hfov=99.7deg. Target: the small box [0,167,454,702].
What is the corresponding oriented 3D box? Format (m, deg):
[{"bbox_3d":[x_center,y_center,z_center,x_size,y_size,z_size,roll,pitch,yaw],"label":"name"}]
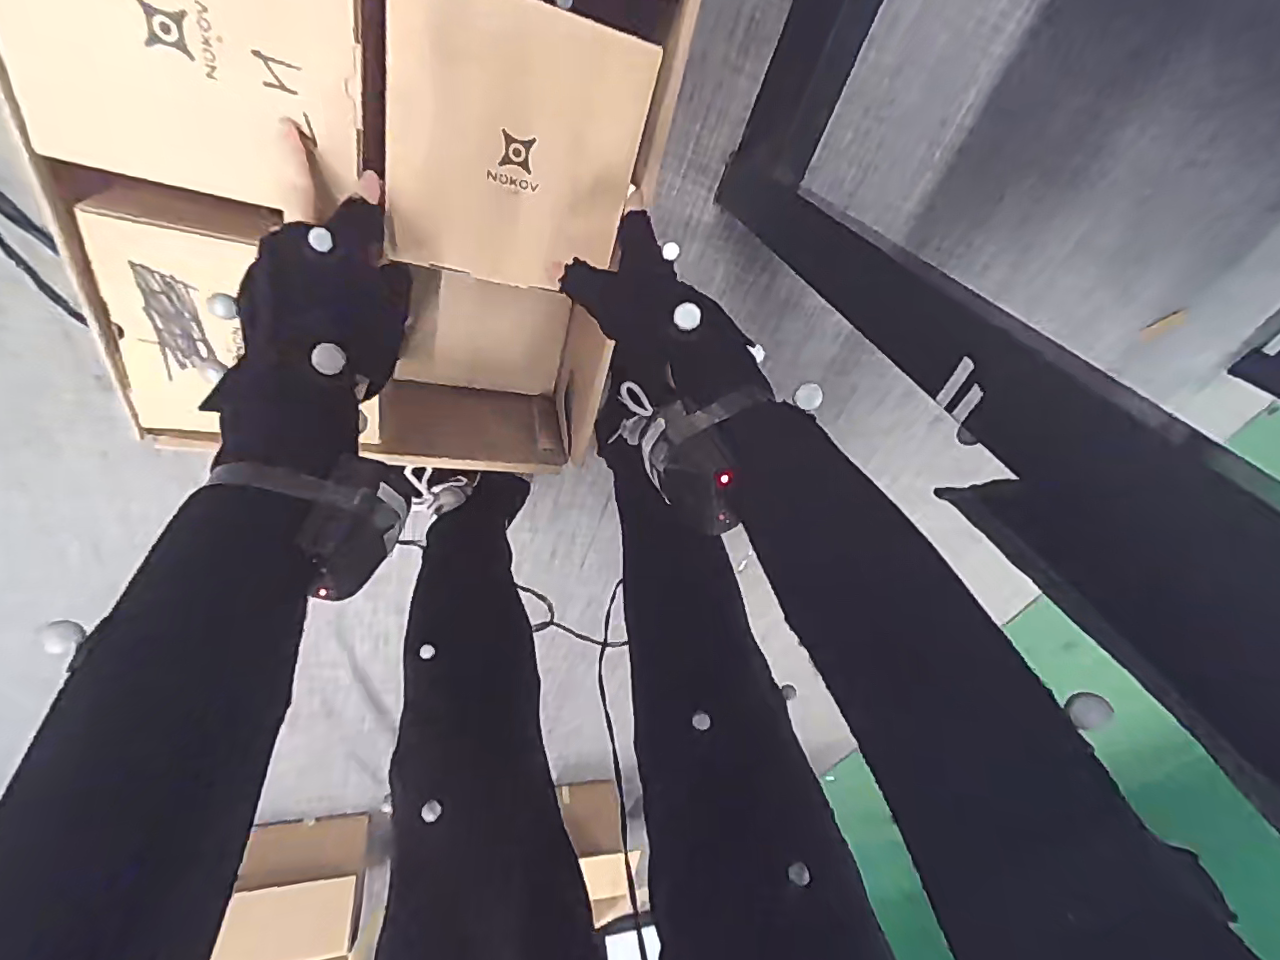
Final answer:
[{"bbox_3d":[-0.229,-0.013,0.276,0.176,0.179,0.168,9,134,-48],"label":"small box"}]
